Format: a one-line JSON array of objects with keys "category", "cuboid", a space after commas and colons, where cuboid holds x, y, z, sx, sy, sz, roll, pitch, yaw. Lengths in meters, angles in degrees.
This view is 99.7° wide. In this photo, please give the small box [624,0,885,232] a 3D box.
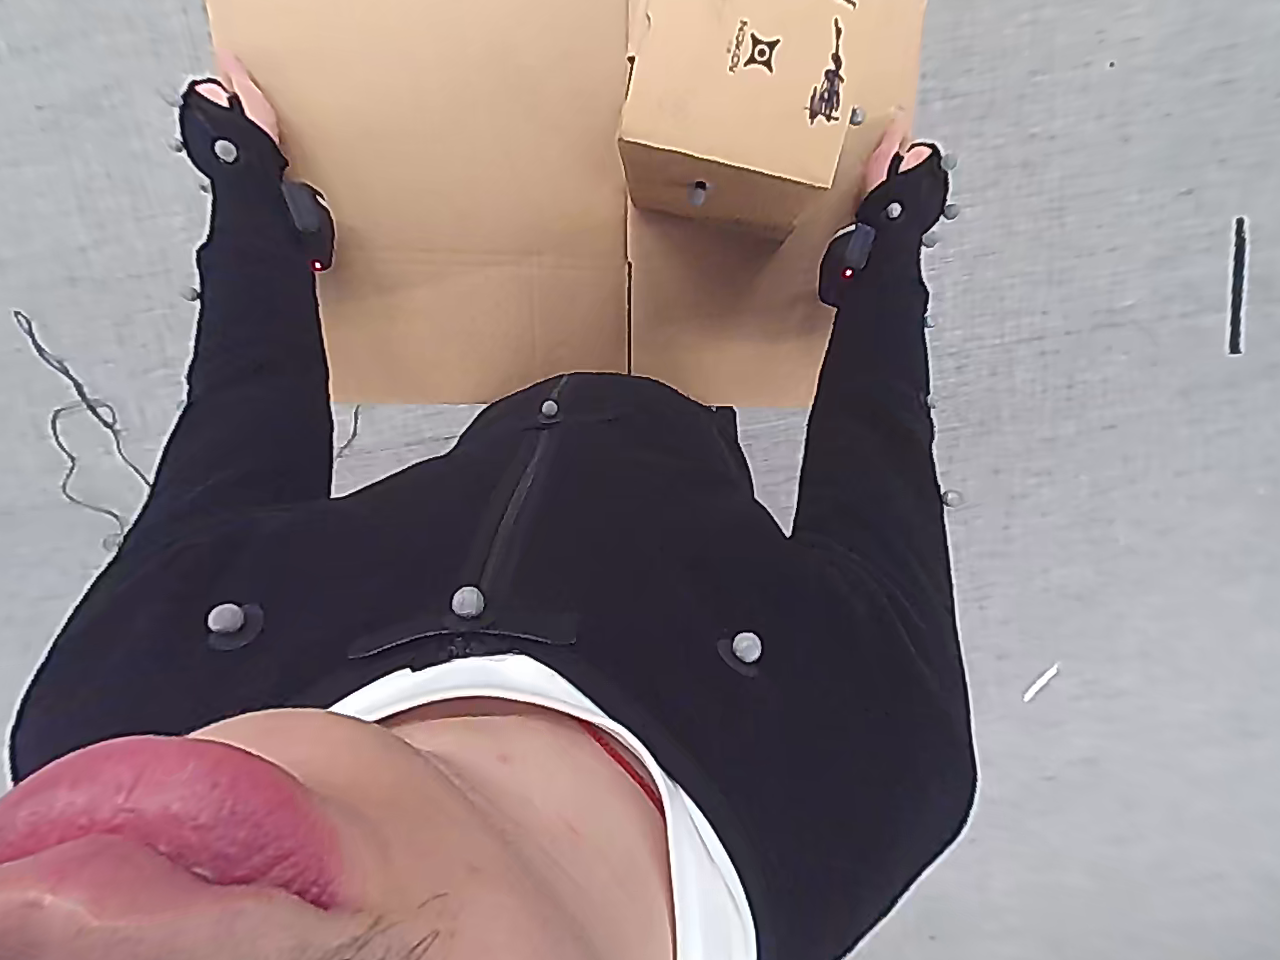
[{"category": "small box", "cuboid": [0.095, -0.347, 0.497, 0.179, 0.176, 0.168, 14, 102, 1]}]
